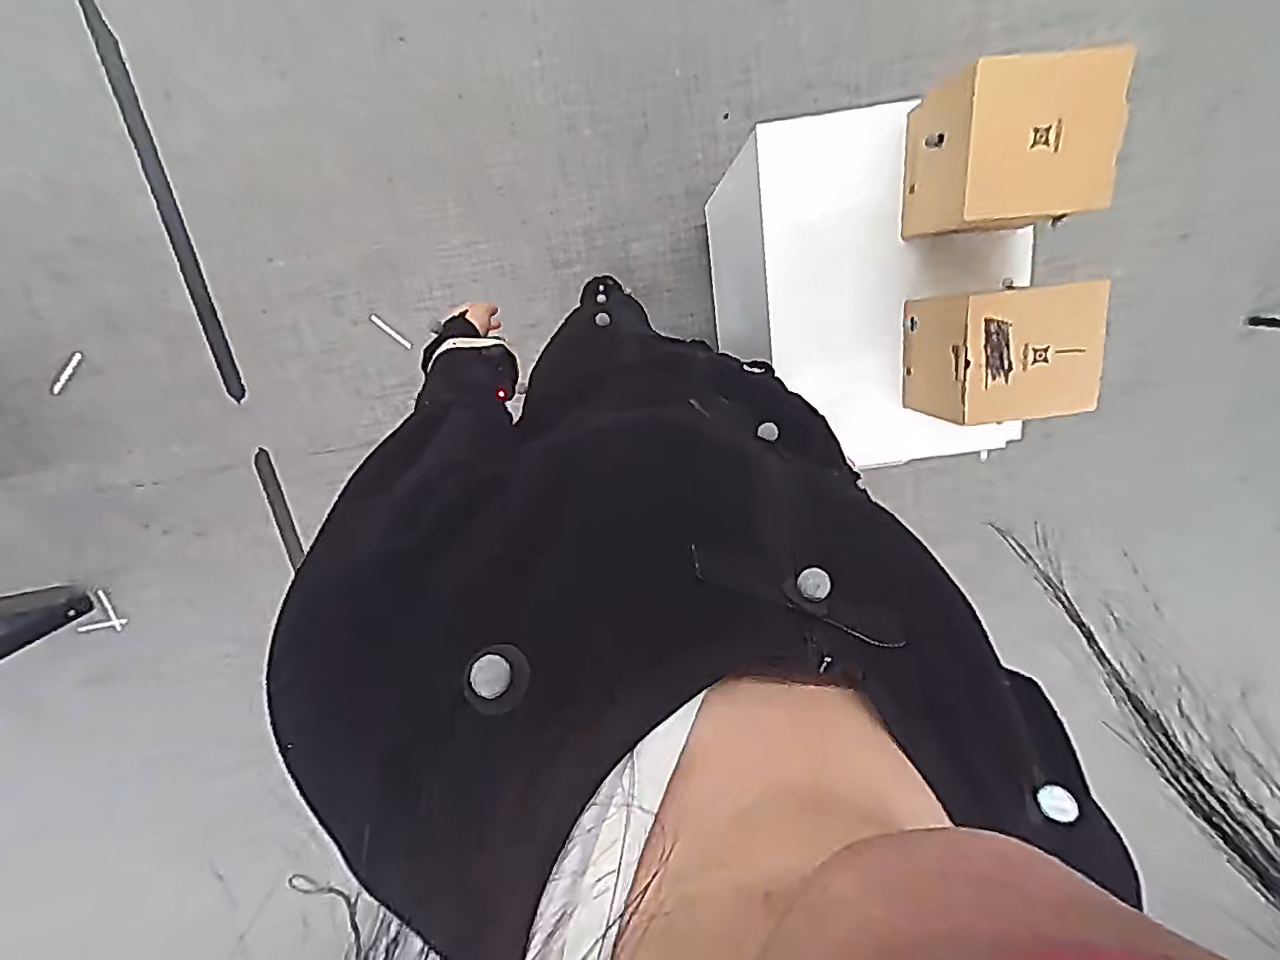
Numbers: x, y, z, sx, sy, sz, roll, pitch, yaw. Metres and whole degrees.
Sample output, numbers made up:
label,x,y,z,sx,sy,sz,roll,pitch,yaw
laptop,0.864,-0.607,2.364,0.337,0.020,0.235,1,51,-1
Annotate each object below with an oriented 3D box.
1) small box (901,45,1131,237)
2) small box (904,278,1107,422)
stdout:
label,x,y,z,sx,sy,sz,roll,pitch,yaw
small box,0.459,-0.416,0.693,0.179,0.176,0.168,-5,107,1
small box,0.495,-0.182,0.762,0.179,0.176,0.168,-7,106,1
